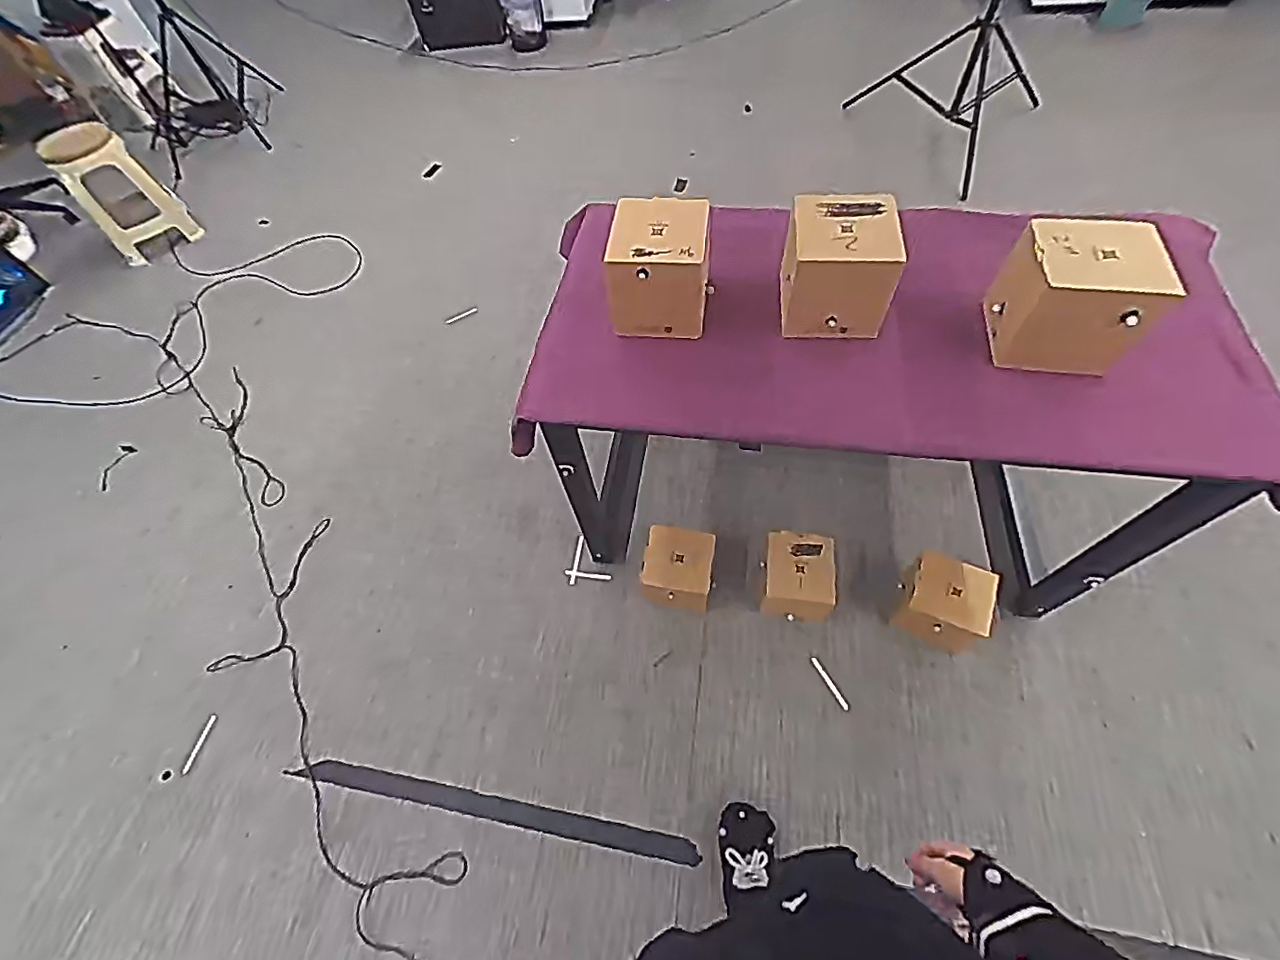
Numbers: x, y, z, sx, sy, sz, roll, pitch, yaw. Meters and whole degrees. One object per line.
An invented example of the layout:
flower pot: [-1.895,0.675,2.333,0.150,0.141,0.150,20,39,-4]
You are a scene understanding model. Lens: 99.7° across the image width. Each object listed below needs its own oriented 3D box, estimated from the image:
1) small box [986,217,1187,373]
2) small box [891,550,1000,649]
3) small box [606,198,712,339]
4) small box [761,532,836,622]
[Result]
small box: [0.690,-0.290,0.863,0.179,0.176,0.168,7,59,10]
small box: [0.757,0.305,1.353,0.179,0.176,0.168,20,64,18]
small box: [0.040,-0.384,0.985,0.168,0.176,0.179,4,59,8]
small box: [0.409,0.256,1.416,0.168,0.176,0.179,5,60,9]
